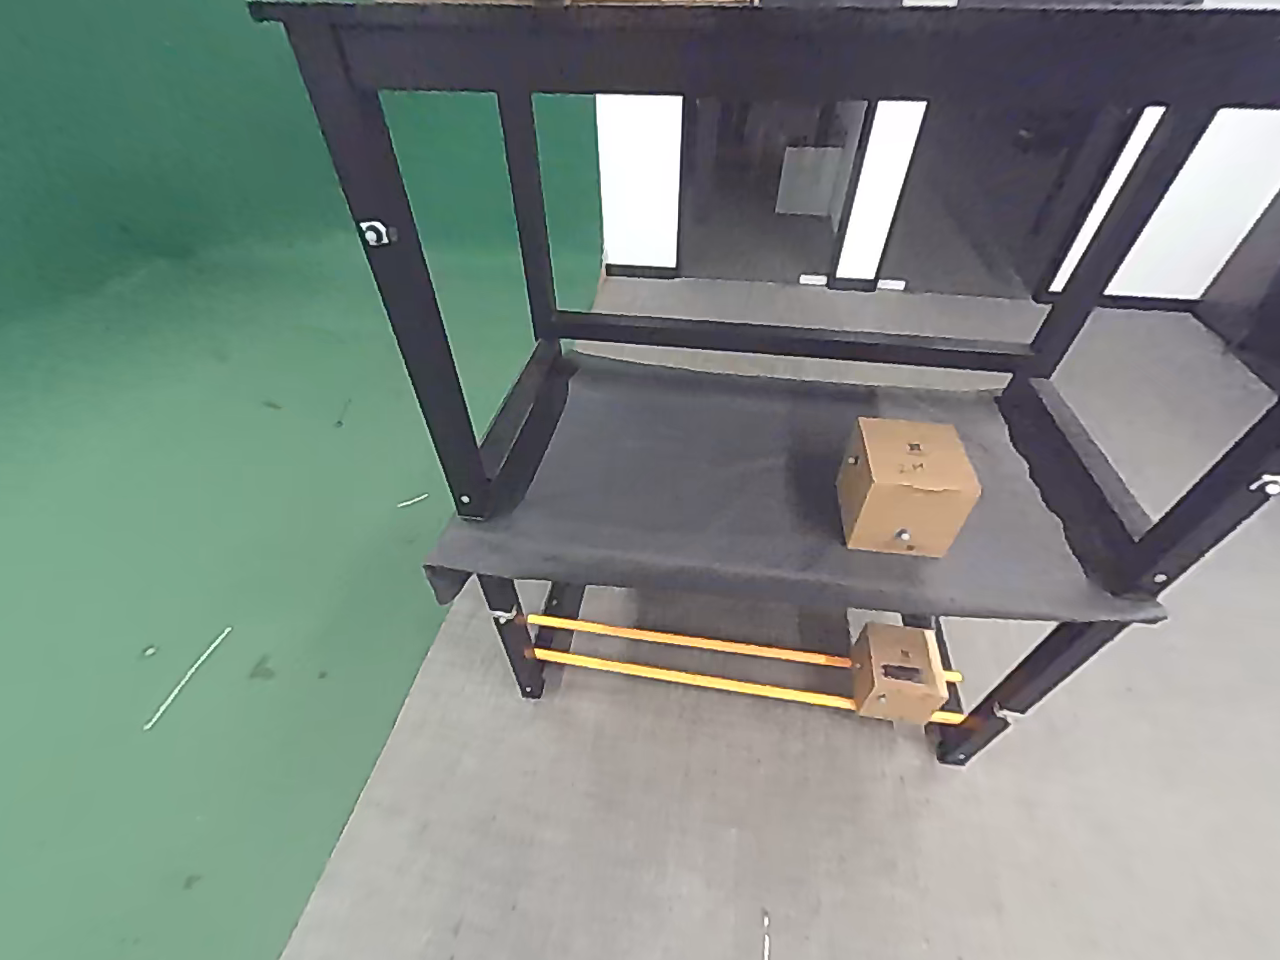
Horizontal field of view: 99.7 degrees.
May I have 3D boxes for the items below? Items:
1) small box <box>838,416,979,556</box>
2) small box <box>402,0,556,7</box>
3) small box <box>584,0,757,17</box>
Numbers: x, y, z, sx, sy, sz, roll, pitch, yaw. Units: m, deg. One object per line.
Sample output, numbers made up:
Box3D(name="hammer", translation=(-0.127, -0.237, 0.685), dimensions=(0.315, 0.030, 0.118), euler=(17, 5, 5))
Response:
Box3D(name="small box", translation=(0.462, 0.009, 0.967), dimensions=(0.168, 0.176, 0.179), euler=(5, 43, 7))
Box3D(name="small box", translation=(-0.166, -0.590, 0.542), dimensions=(0.168, 0.176, 0.179), euler=(5, 43, 6))
Box3D(name="small box", translation=(0.036, -0.543, 0.495), dimensions=(0.168, 0.176, 0.179), euler=(7, 44, 7))
